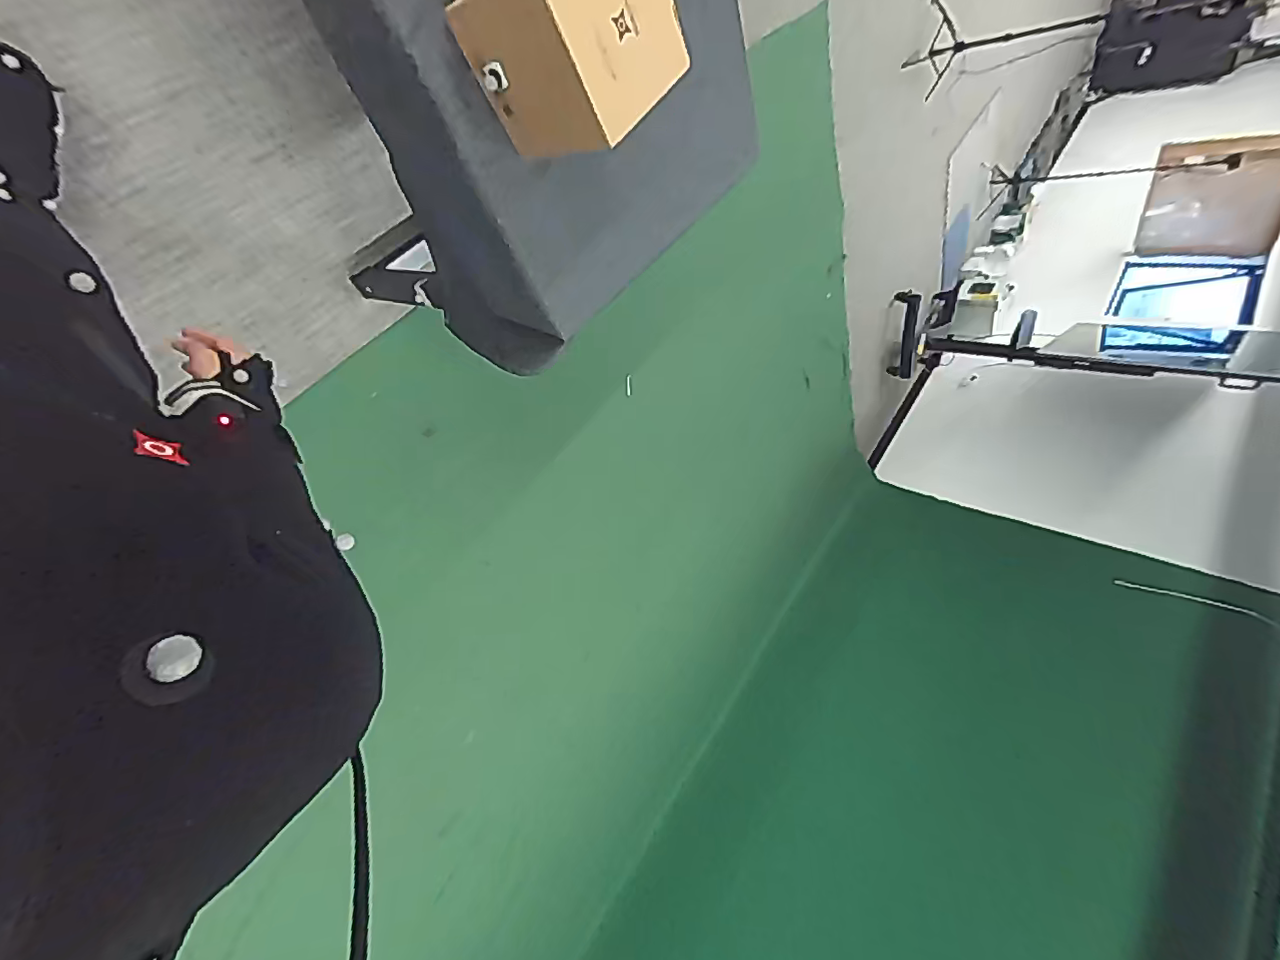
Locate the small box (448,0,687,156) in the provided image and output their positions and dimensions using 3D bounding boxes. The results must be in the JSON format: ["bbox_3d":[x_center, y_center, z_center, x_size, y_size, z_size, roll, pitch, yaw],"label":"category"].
[{"bbox_3d":[-0.080,-0.504,0.618,0.179,0.176,0.168,-55,139,-17],"label":"small box"}]
